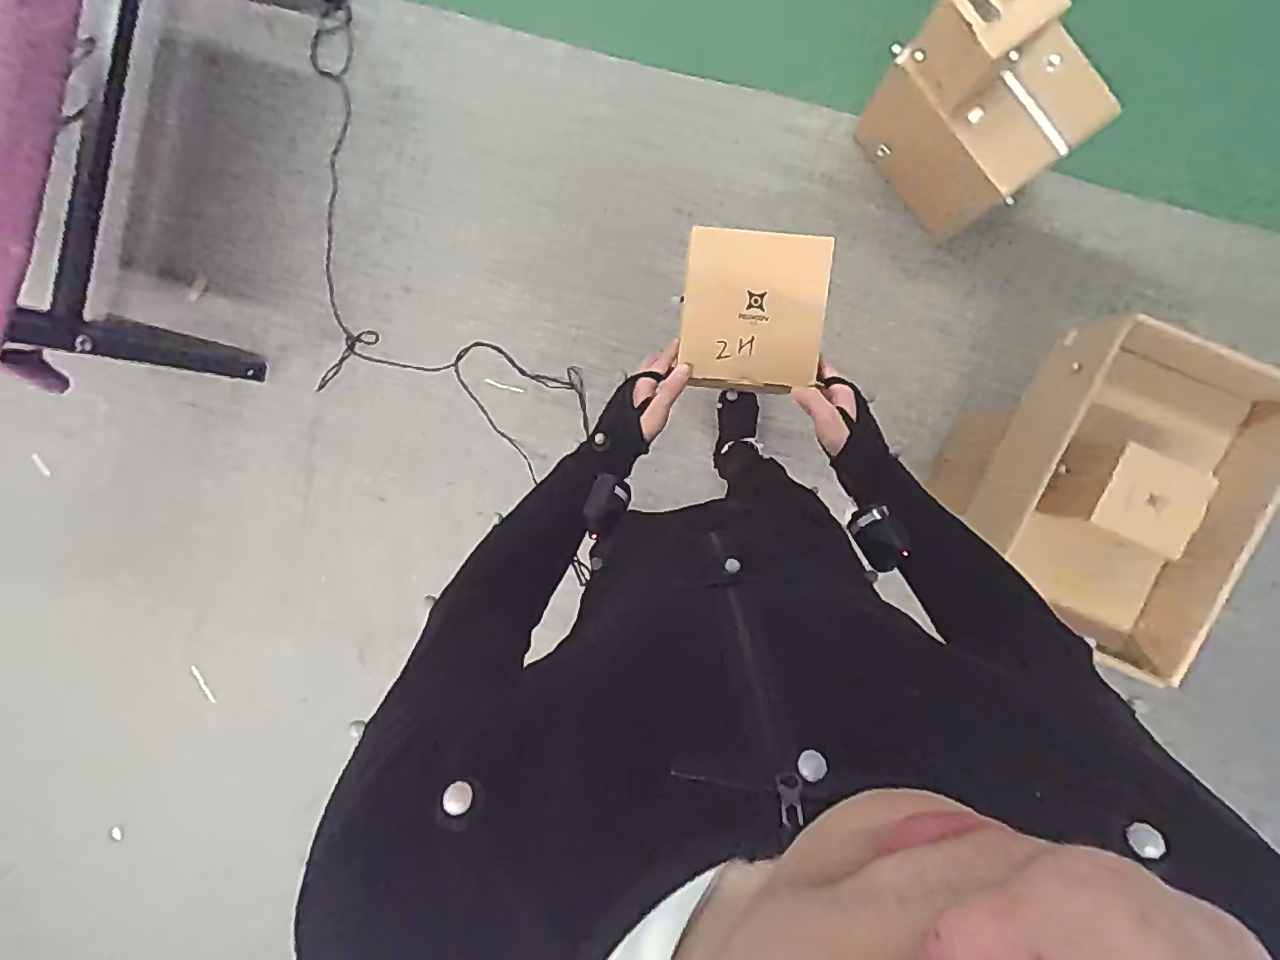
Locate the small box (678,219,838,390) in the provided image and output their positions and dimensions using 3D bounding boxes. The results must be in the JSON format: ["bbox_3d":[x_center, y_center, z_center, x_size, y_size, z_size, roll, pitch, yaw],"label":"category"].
[{"bbox_3d":[0.140,-0.215,0.703,0.168,0.176,0.179,5,98,2],"label":"small box"}]

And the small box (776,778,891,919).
[{"bbox_3d":[0.437,0.839,1.246,0.168,0.176,0.179,-30,90,5],"label":"small box"}]

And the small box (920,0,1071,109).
[{"bbox_3d":[0.715,-0.924,1.117,0.179,0.176,0.168,-34,92,5],"label":"small box"}]
